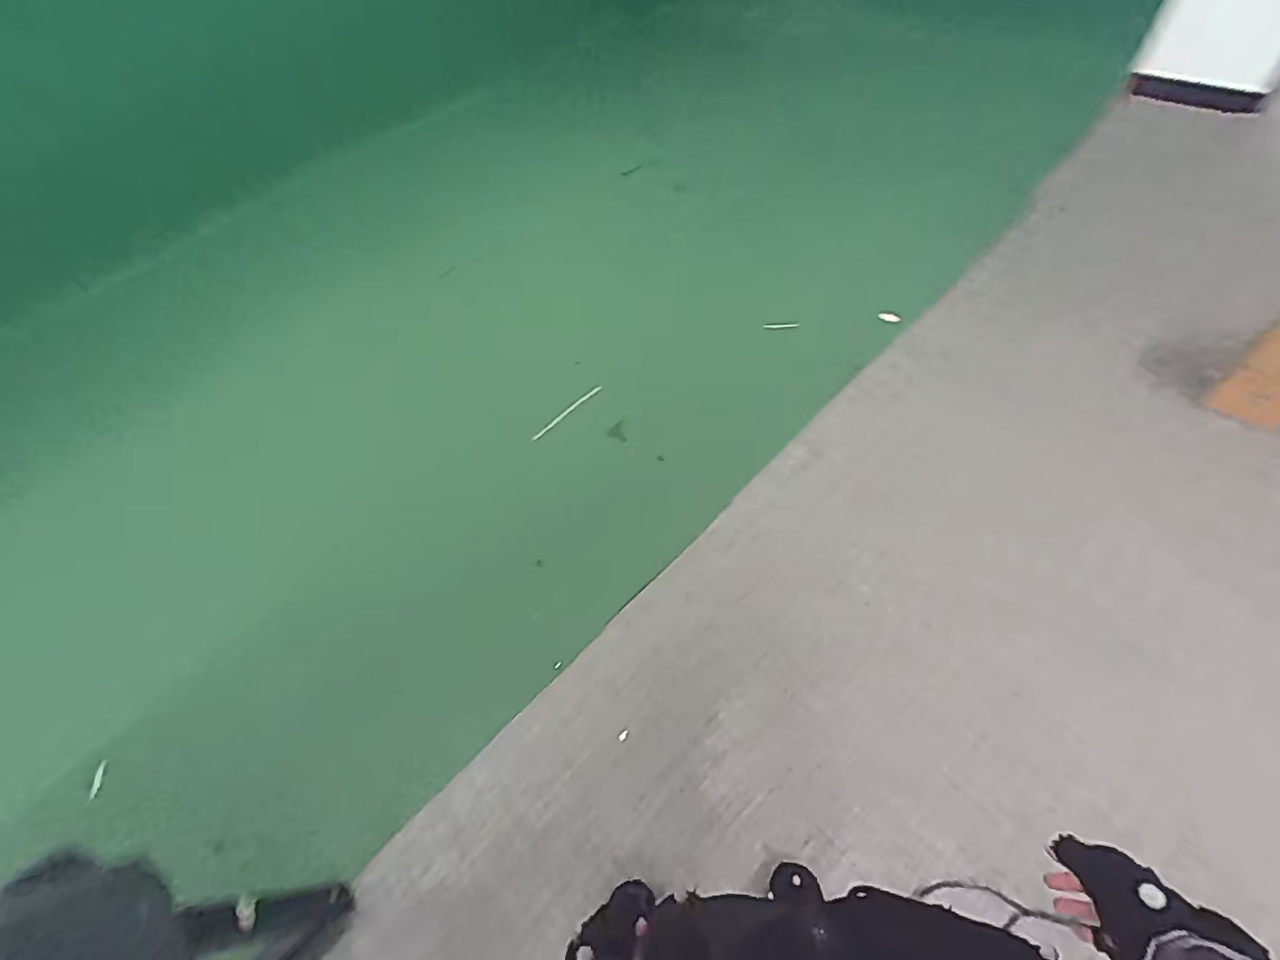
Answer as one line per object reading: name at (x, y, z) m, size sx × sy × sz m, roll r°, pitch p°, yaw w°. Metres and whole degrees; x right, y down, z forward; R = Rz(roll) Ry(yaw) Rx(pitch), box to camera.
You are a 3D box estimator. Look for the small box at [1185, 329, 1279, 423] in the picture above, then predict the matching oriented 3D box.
small box at (1.693, -0.283, 1.501) m, size 0.179 × 0.176 × 0.168 m, roll 28°, pitch 66°, yaw 24°
